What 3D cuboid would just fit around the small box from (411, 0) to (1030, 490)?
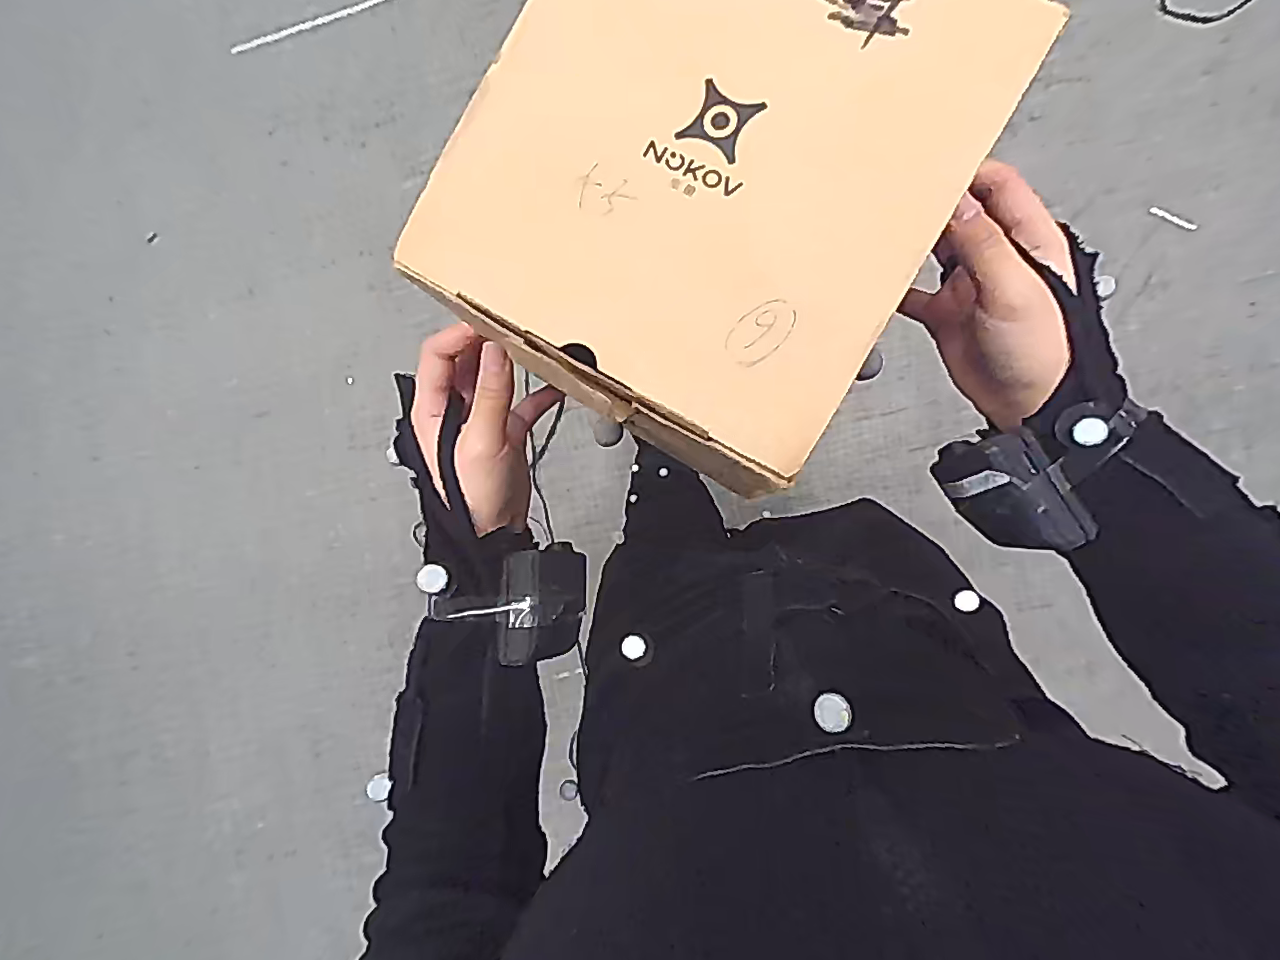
[{"bbox_3d":[0.033,-0.105,0.274,0.168,0.176,0.179,31,92,8],"label":"small box"}]
